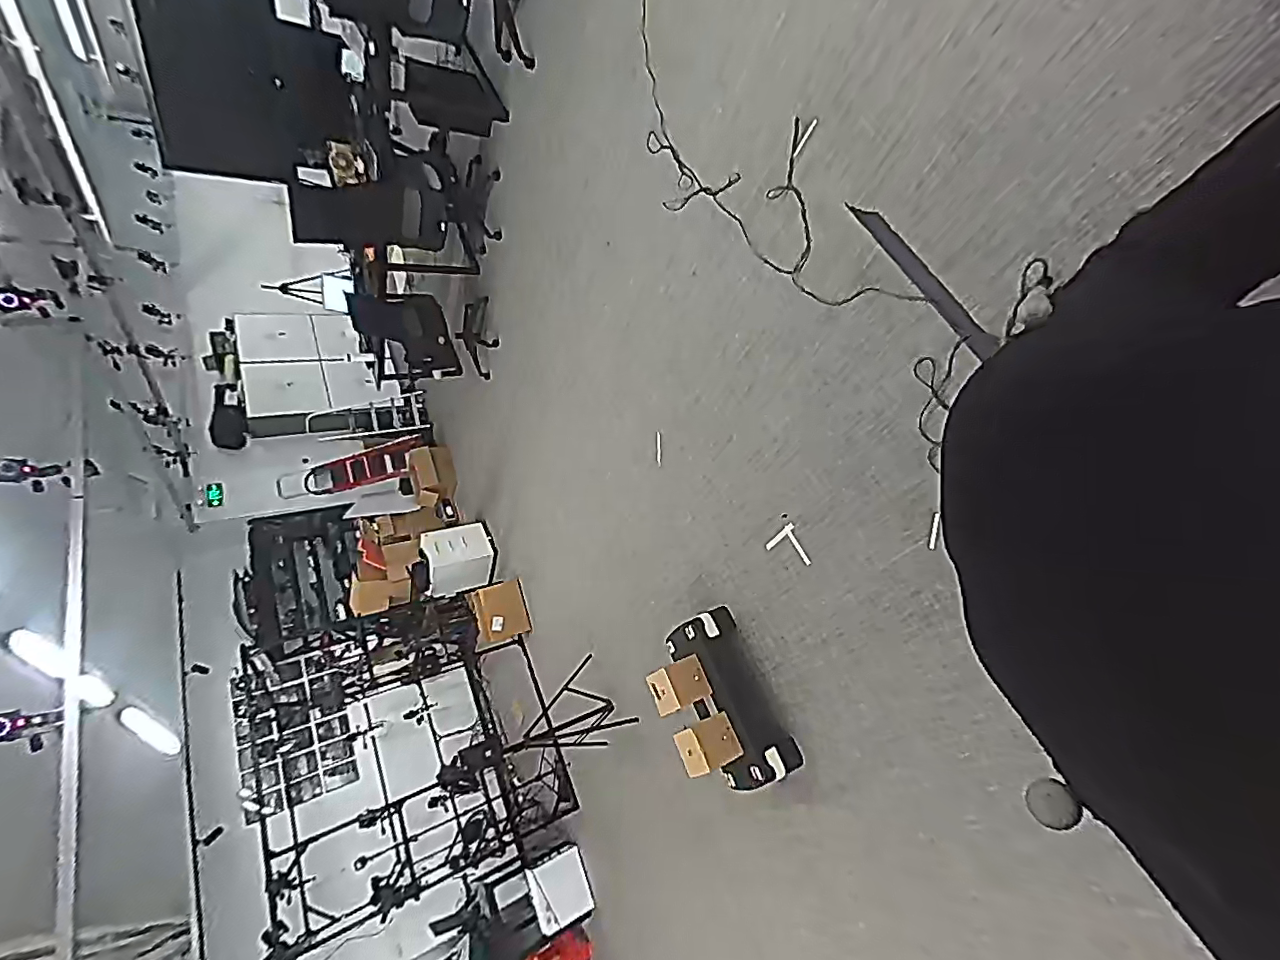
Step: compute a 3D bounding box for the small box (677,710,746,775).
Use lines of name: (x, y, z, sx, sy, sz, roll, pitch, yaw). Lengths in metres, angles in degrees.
small box: (0.277, 1.016, 2.092, 0.168, 0.176, 0.179, 64, 145, 22)

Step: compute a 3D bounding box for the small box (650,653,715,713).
small box: (0.174, 0.826, 2.200, 0.179, 0.176, 0.168, -52, 56, 50)

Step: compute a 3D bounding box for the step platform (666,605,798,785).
step platform: (0.361, 0.886, 2.250, 0.684, 0.204, 0.286, 63, 146, 23)
